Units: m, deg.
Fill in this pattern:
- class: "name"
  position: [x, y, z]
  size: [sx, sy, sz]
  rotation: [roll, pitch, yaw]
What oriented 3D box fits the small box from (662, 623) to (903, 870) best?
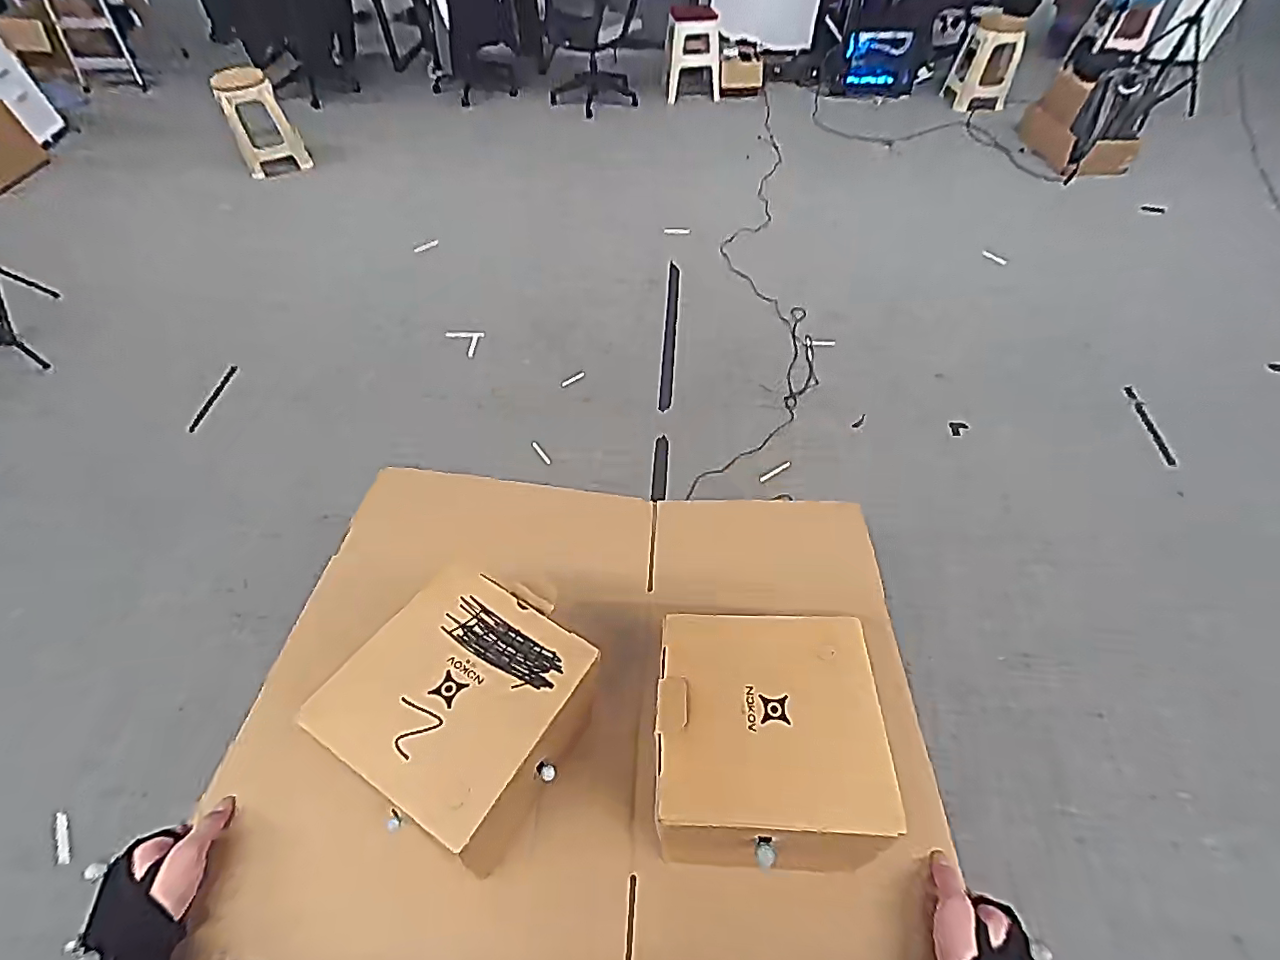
- class: "small box"
  position: [0.114, 0.248, 0.504]
  size: [0.179, 0.176, 0.168]
  rotation: [-1, 46, 6]
